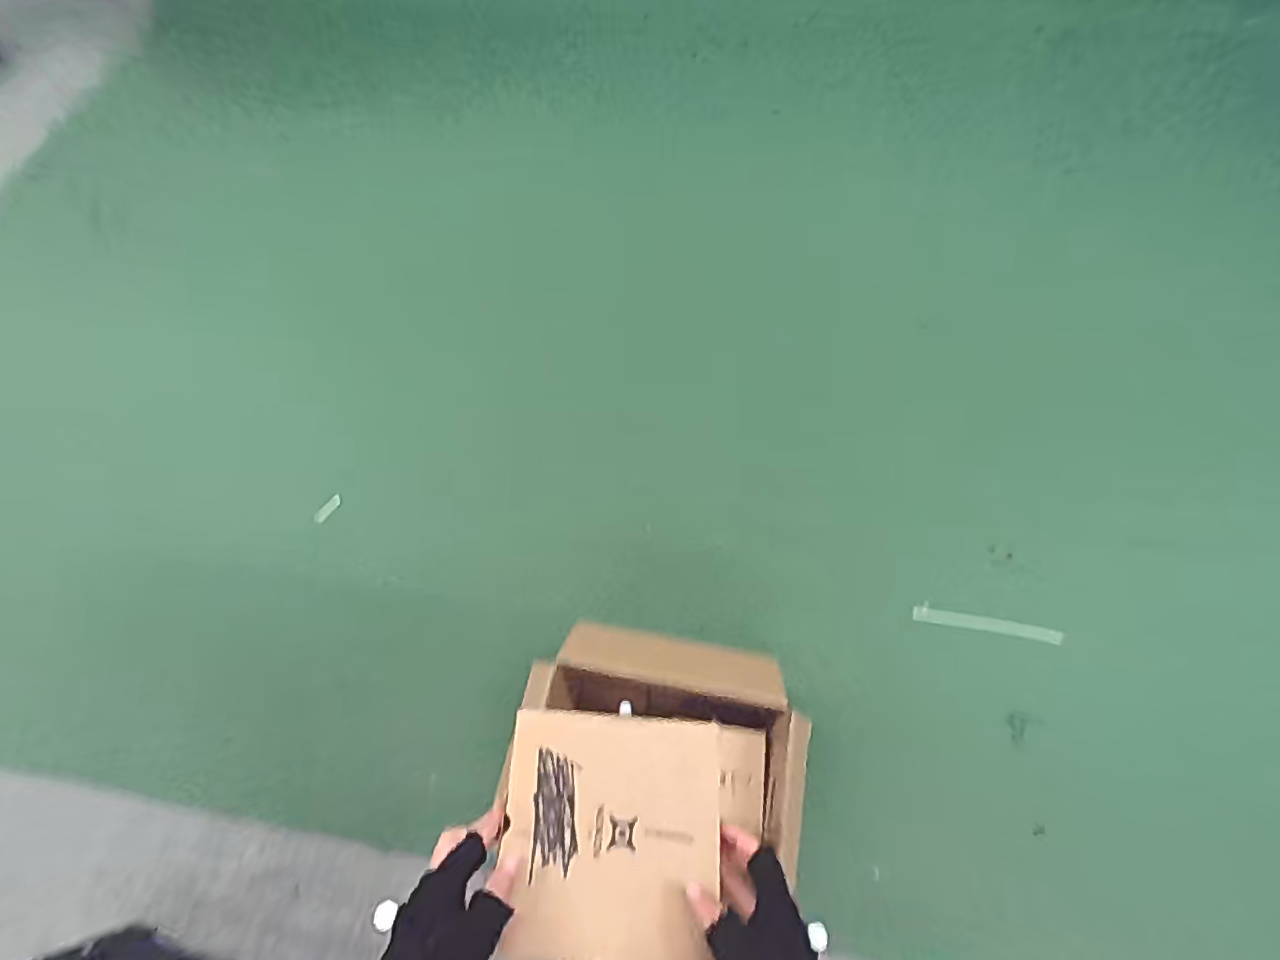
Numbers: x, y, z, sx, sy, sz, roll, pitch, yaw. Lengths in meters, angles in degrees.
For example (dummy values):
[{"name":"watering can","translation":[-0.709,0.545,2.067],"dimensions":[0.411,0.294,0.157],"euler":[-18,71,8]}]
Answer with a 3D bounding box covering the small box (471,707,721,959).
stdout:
[{"name":"small box","translation":[-0.032,0.304,0.482],"dimensions":[0.179,0.176,0.168],"euler":[6,64,-3]}]
